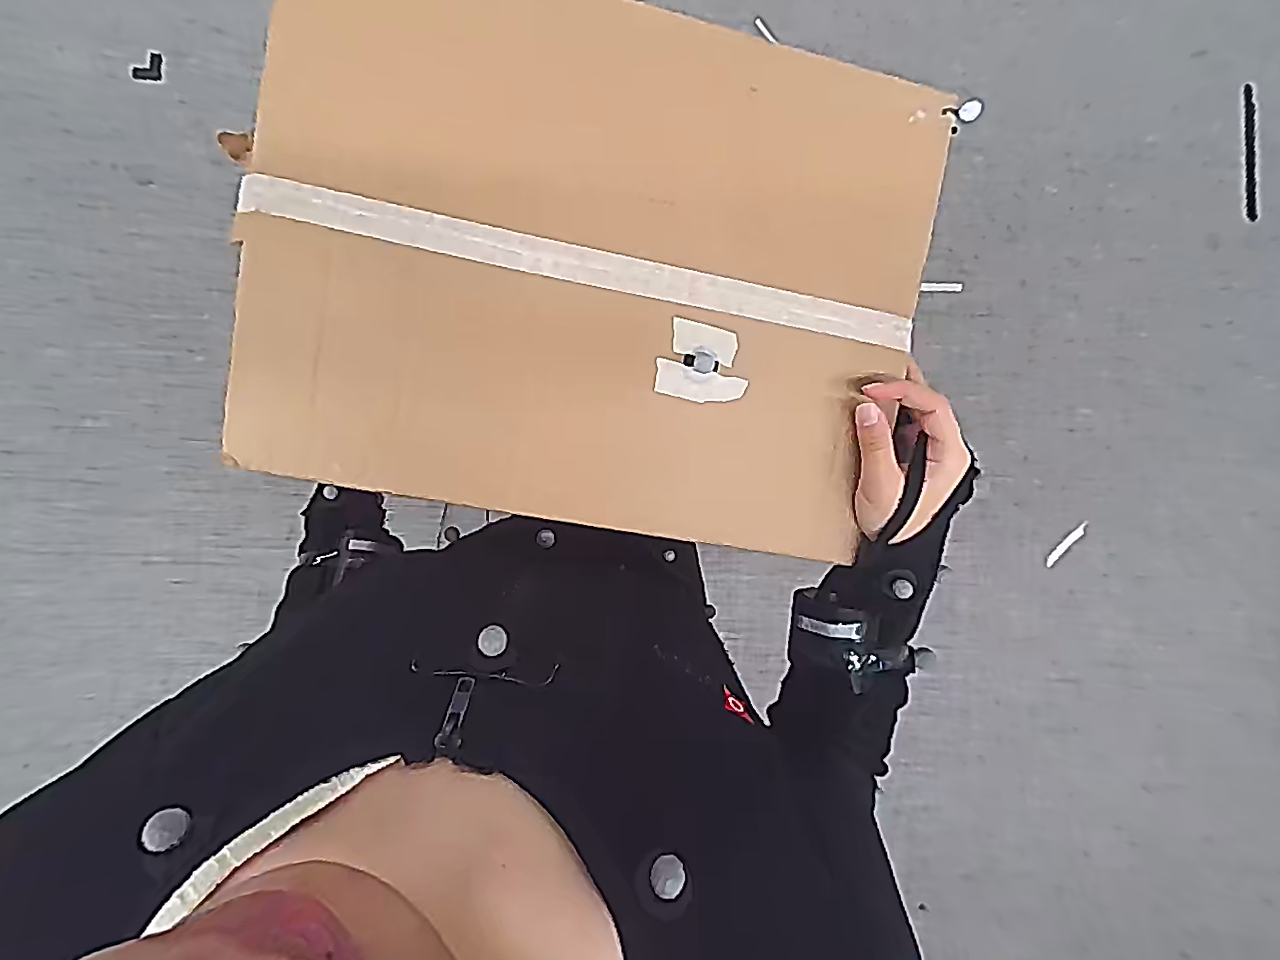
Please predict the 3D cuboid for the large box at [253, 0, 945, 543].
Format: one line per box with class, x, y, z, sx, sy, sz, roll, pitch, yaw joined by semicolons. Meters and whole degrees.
large box;-0.035;-0.147;0.486;0.408;0.320;0.320;10;95;-9
